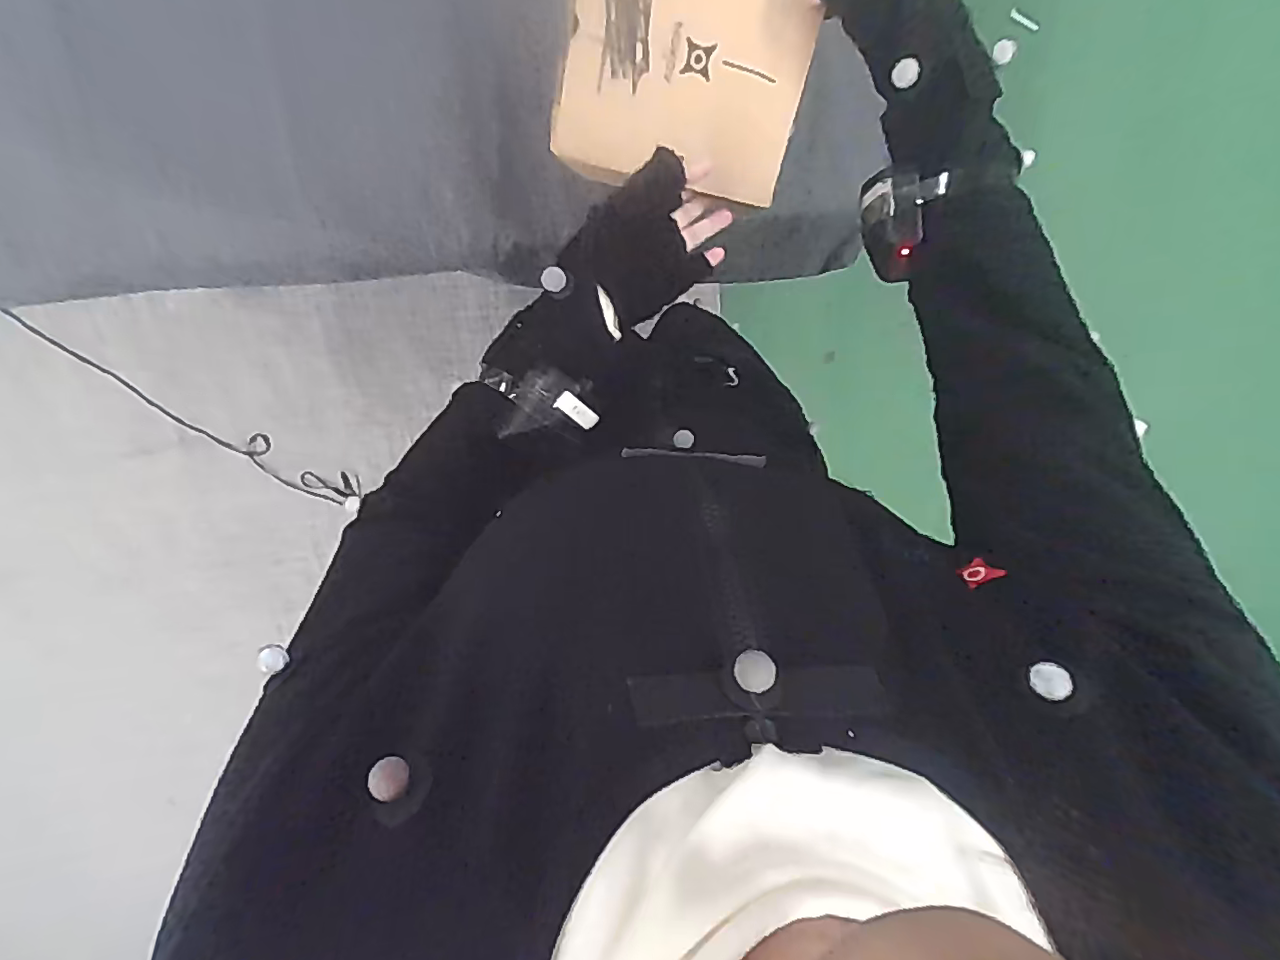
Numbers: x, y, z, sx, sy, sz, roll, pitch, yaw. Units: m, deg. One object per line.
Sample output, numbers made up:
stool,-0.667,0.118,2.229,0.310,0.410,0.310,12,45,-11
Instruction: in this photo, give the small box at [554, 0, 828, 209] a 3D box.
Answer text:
small box,0.039,-0.335,0.455,0.179,0.176,0.168,12,115,-2
